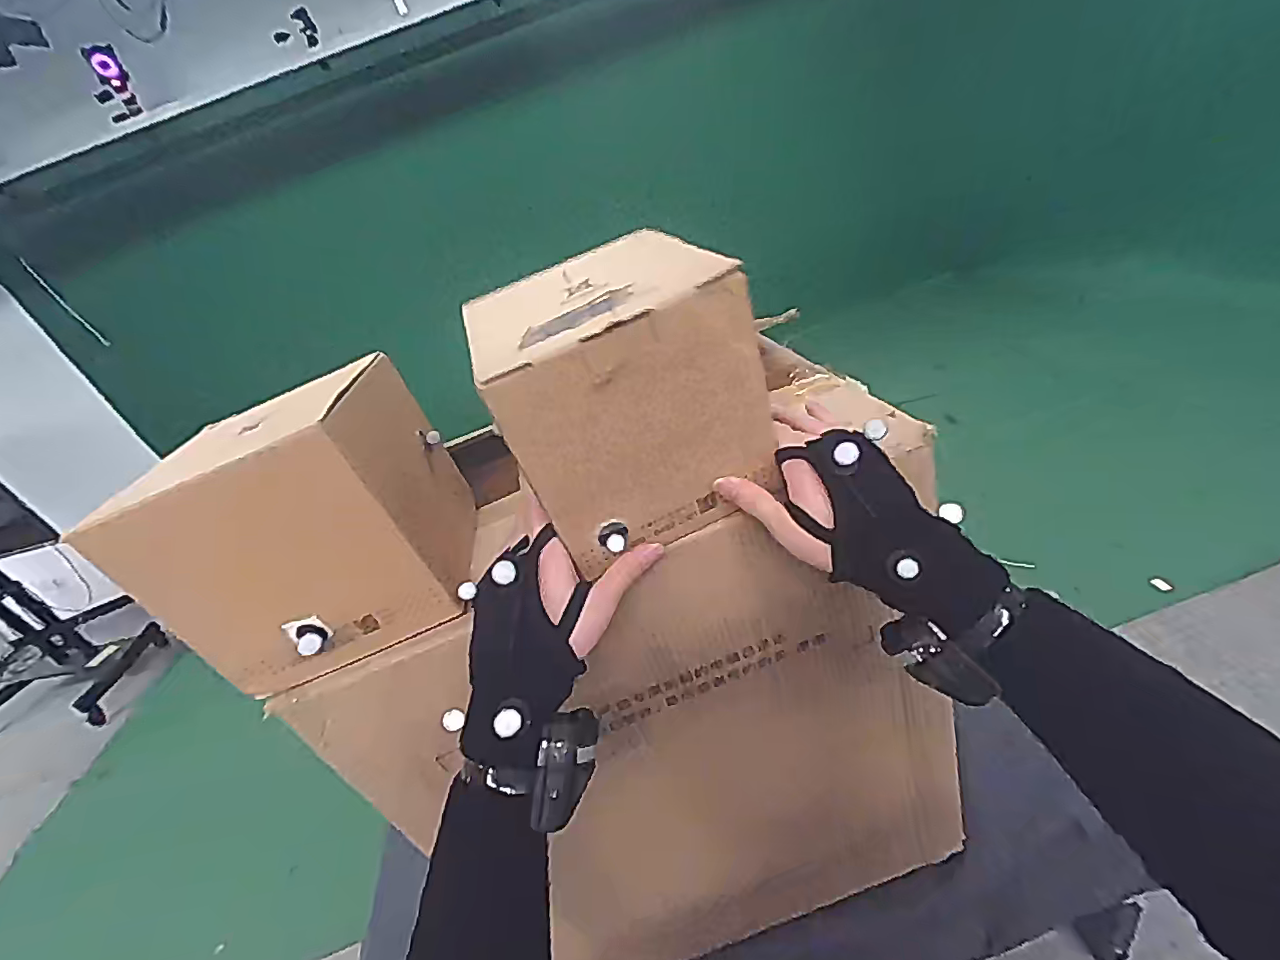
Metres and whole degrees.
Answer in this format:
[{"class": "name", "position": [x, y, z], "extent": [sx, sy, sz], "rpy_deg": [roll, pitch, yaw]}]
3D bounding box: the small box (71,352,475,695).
[{"class": "small box", "position": [-0.245, 0.026, 0.423], "extent": [0.168, 0.176, 0.179], "rpy_deg": [-26, 30, -2]}]

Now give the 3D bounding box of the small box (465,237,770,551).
[{"class": "small box", "position": [-0.019, -0.067, 0.422], "extent": [0.168, 0.176, 0.179], "rpy_deg": [-25, 32, -6]}]
